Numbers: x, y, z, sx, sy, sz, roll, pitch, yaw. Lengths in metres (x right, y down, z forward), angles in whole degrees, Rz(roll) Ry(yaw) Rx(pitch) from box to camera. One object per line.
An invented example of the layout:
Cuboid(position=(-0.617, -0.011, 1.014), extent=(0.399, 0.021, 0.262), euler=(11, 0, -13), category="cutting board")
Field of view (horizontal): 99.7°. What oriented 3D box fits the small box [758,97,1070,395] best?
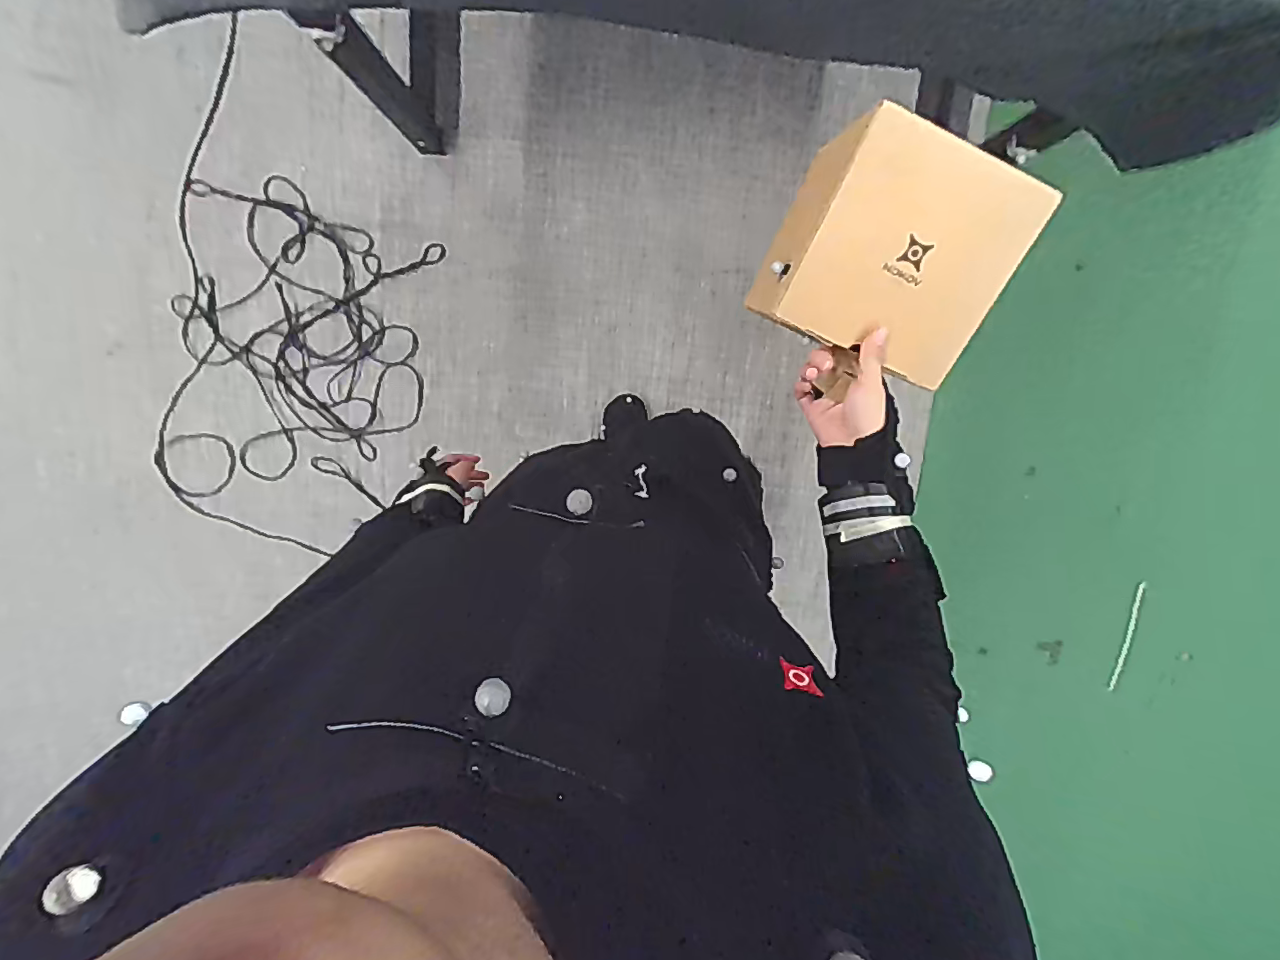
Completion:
Cuboid(position=(0.231, -0.209, 0.514), extent=(0.168, 0.176, 0.179), euler=(24, 110, -8), category="small box")
